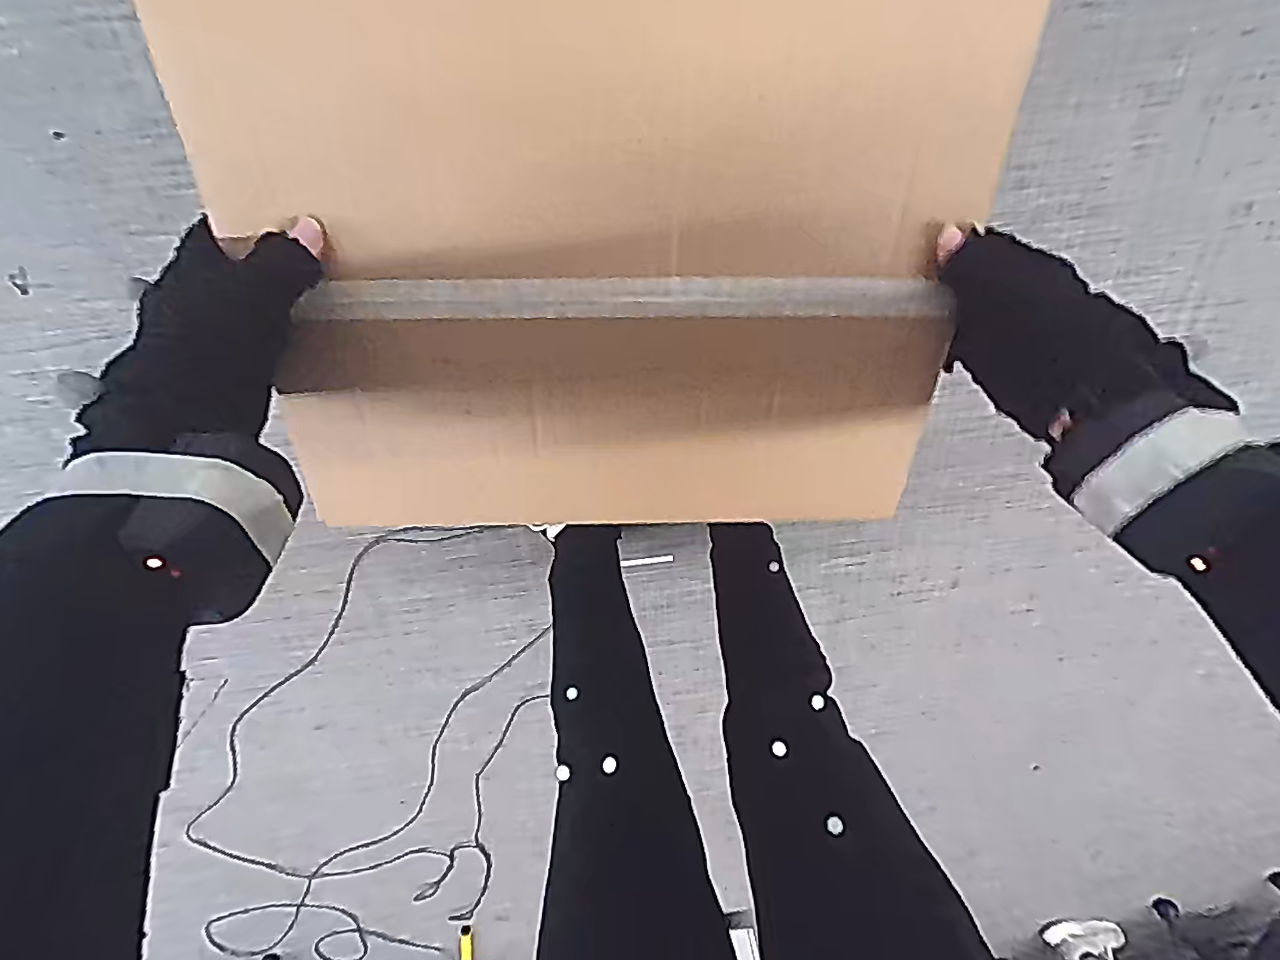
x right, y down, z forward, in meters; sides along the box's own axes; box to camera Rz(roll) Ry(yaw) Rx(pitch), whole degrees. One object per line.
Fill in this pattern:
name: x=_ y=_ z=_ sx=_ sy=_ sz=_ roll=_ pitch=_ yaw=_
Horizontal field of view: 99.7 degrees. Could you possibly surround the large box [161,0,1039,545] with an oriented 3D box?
large box: x=-0.021 y=-0.164 z=0.443 sx=0.408 sy=0.320 sz=0.320 roll=-1 pitch=121 yaw=-2
